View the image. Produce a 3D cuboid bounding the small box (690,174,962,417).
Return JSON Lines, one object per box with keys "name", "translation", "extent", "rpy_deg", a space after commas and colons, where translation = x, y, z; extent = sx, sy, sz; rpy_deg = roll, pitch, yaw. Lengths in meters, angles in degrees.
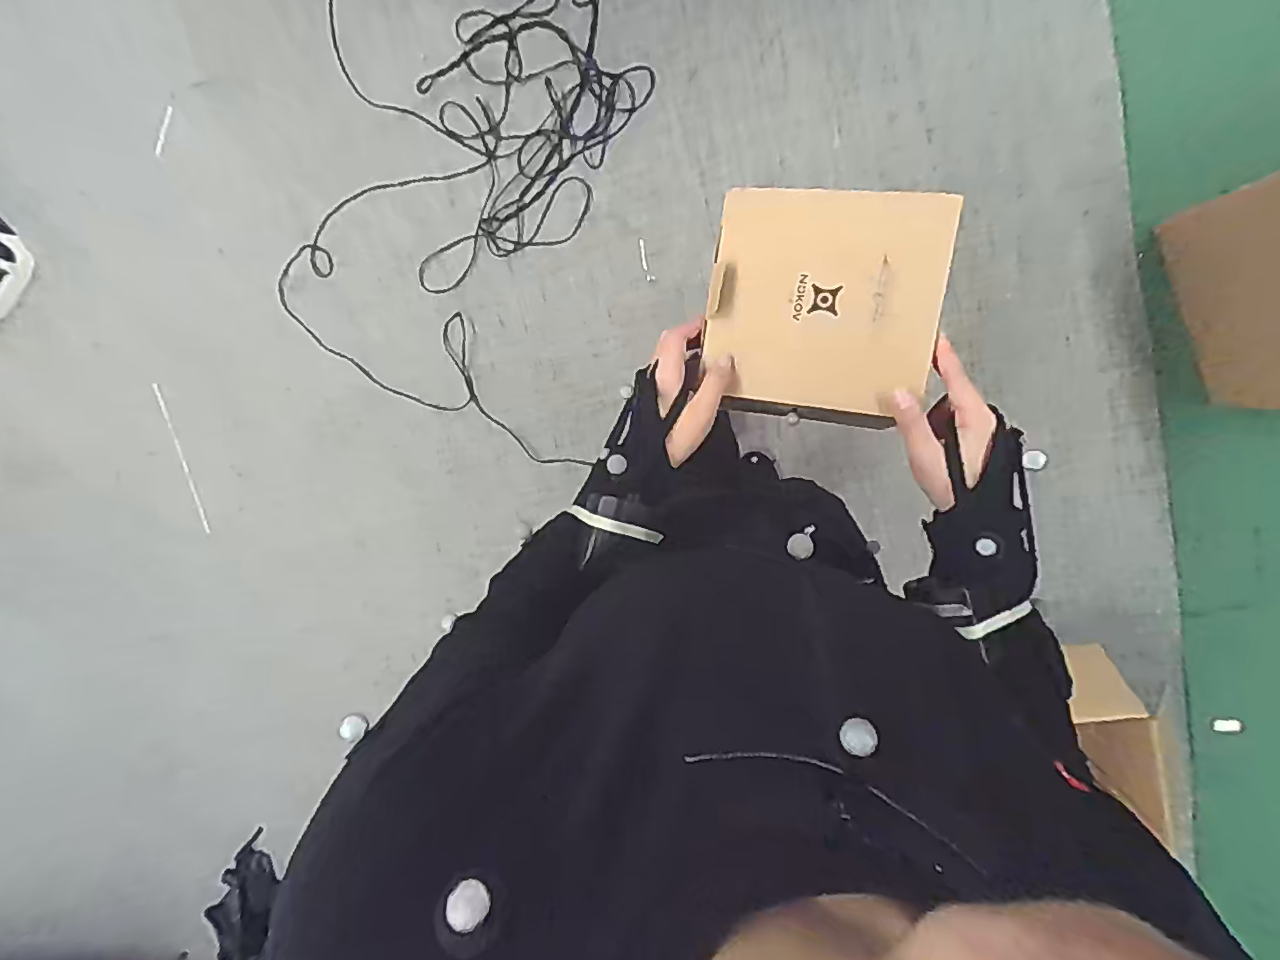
{"name": "small box", "translation": [0.155, -0.150, 0.487], "extent": [0.179, 0.176, 0.168], "rpy_deg": [9, 96, 14]}
